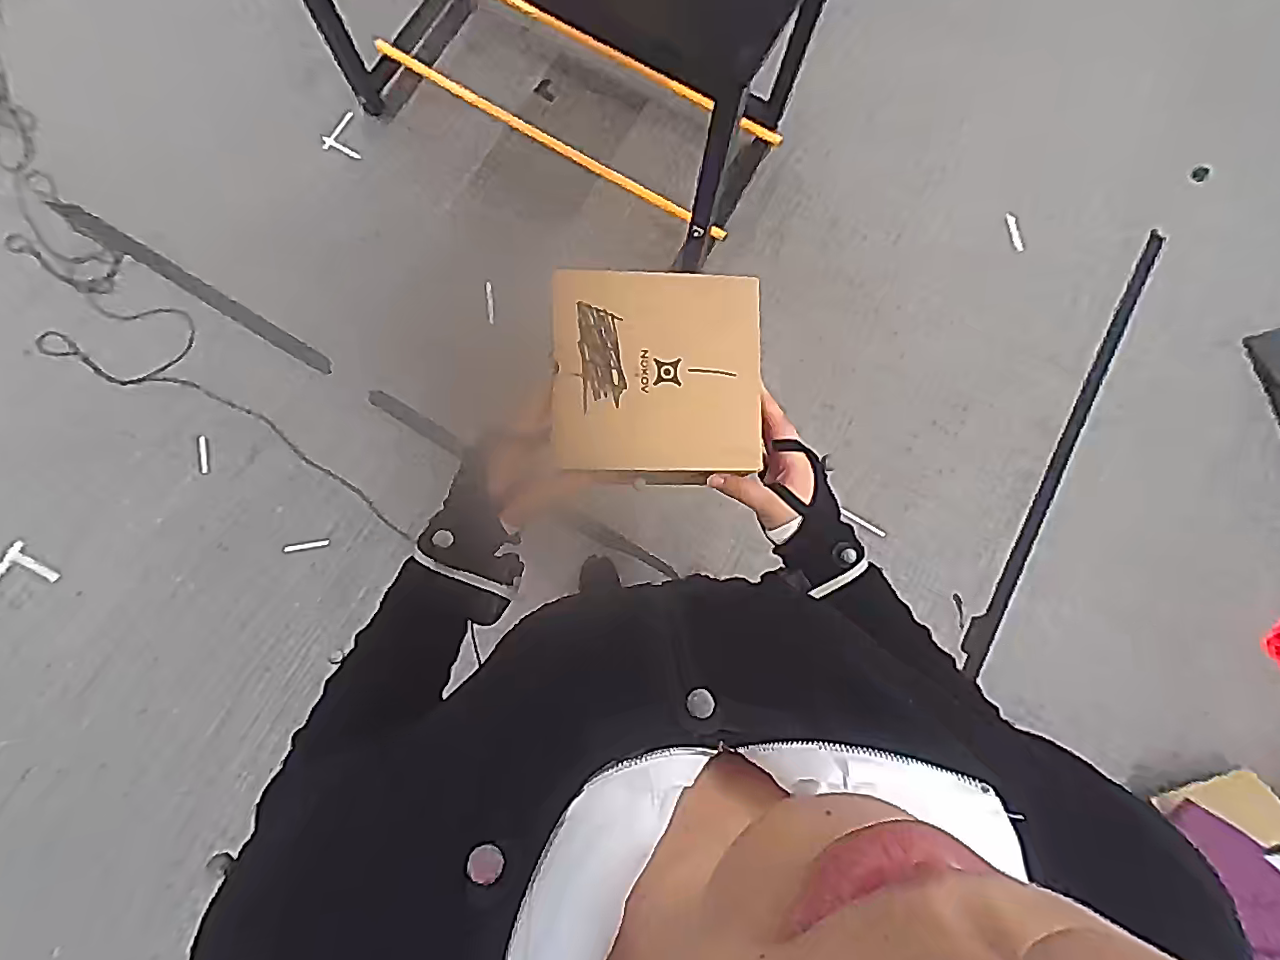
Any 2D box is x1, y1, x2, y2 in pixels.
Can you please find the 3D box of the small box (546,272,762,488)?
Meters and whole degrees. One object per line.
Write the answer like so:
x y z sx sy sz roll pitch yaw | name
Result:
0.007 -0.080 0.517 0.179 0.176 0.168 0 85 -4 | small box
